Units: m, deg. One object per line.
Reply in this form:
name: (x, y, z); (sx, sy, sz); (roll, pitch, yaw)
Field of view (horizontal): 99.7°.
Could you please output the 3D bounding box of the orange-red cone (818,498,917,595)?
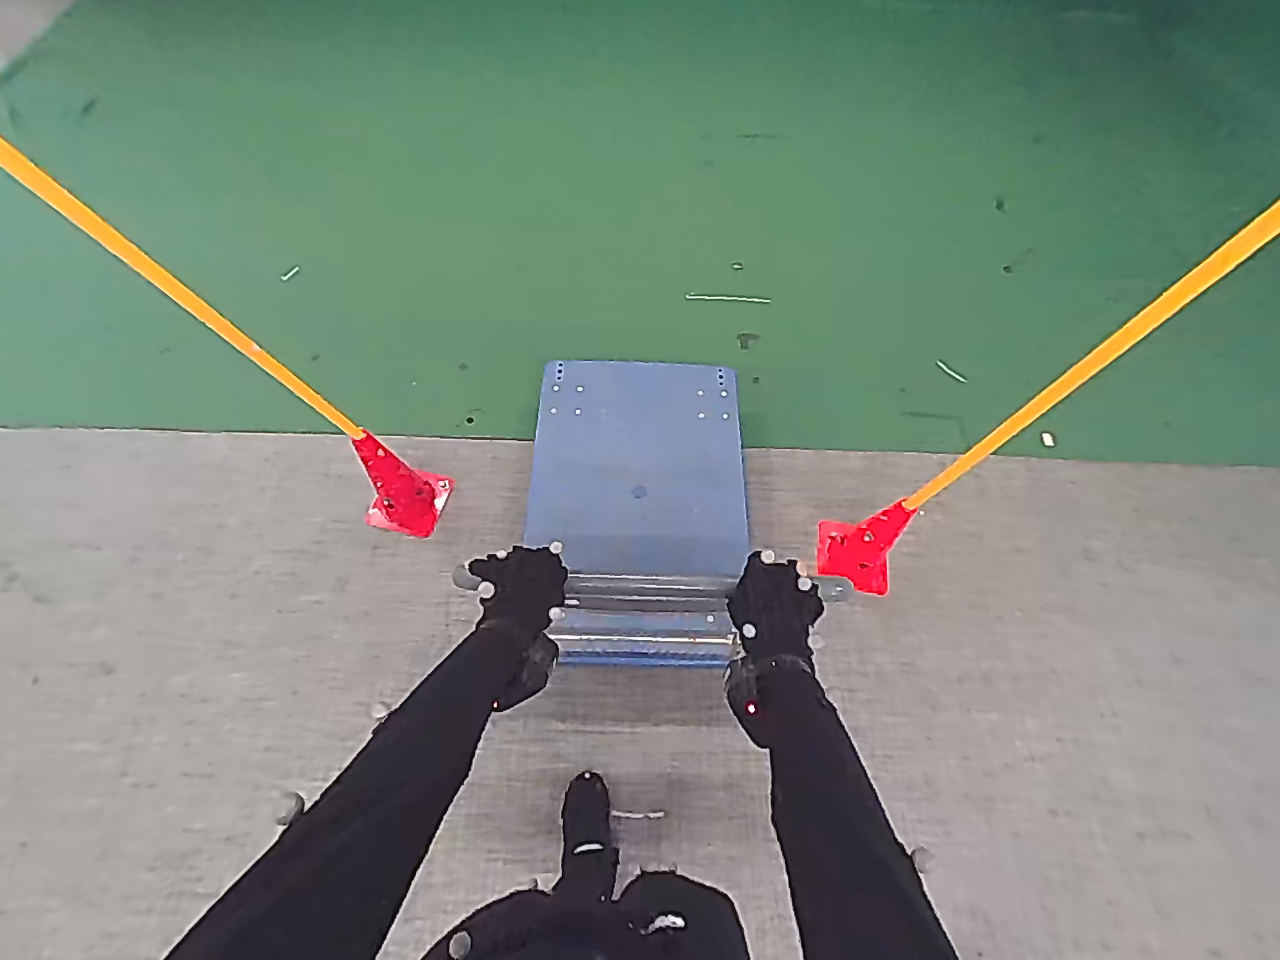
orange-red cone: (0.617, 0.141, 1.398); (0.198, 0.360, 0.199); (12, 63, 4)
